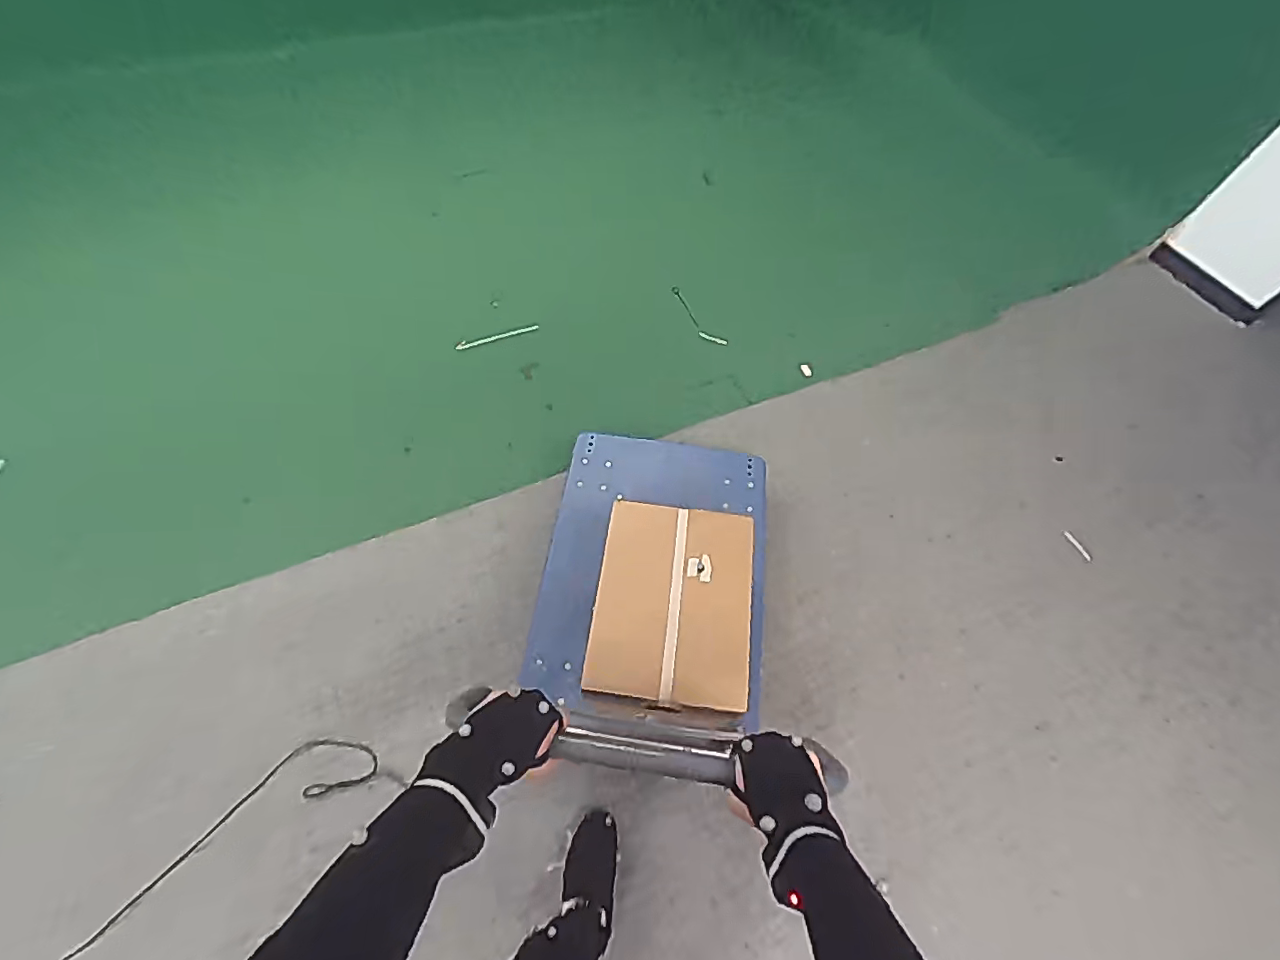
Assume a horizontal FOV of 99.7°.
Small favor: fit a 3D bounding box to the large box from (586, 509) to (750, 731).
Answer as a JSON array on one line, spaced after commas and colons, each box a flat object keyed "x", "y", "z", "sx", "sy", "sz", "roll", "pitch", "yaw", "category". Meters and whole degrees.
[{"x": 0.067, "y": 0.330, "z": 1.243, "sx": 0.320, "sy": 0.320, "sz": 0.408, "roll": 8, "pitch": 59, "yaw": 2, "category": "large box"}]
